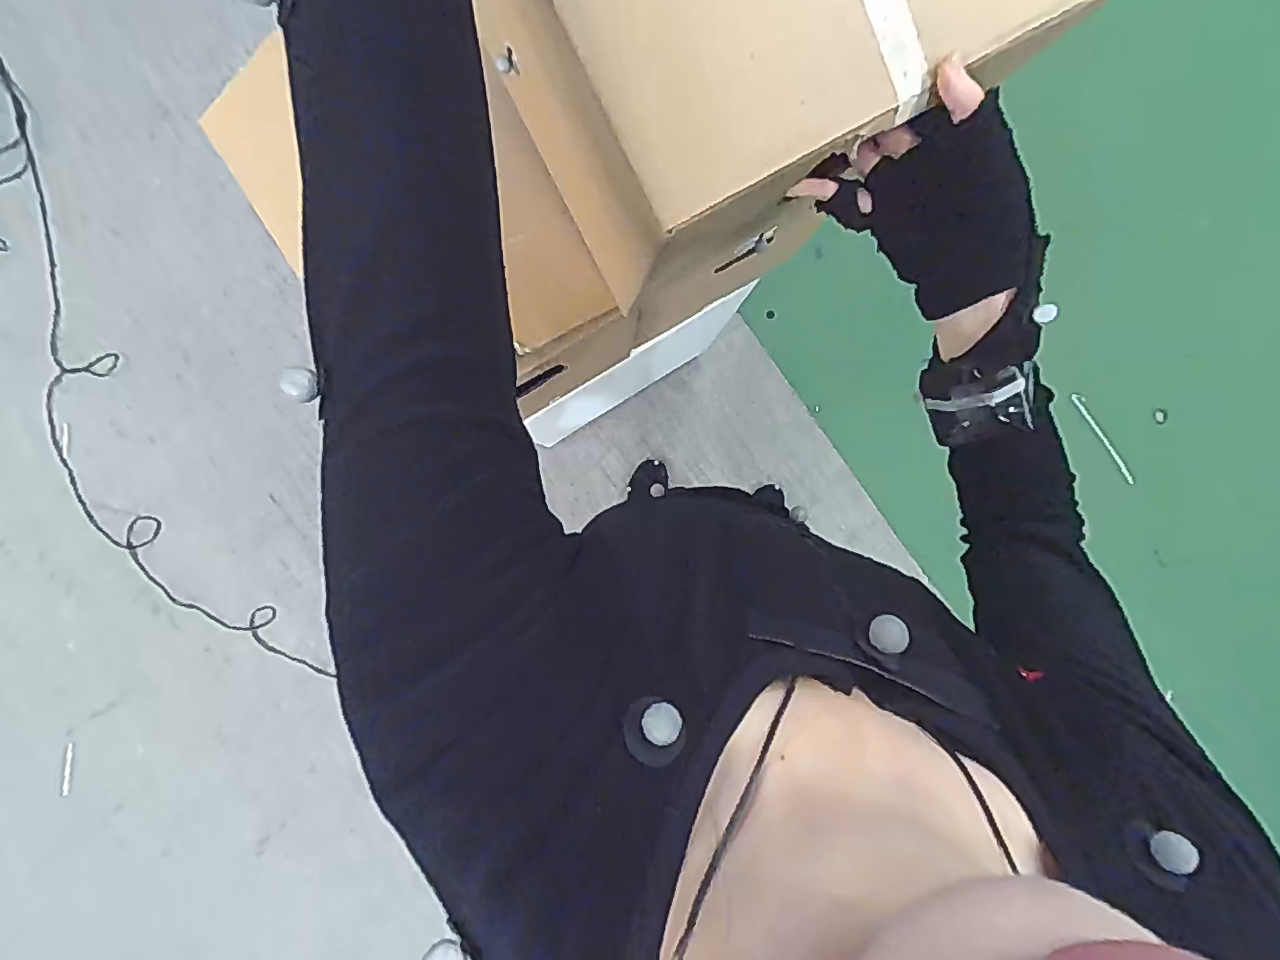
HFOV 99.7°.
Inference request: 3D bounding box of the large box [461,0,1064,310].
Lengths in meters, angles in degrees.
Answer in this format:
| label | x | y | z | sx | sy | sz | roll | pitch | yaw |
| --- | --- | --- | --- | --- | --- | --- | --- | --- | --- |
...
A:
| label | x | y | z | sx | sy | sz | roll | pitch | yaw |
| --- | --- | --- | --- | --- | --- | --- | --- | --- | --- |
| large box | 0.032 | -0.406 | 0.417 | 0.320 | 0.320 | 0.408 | -28 | 98 | -1 |
